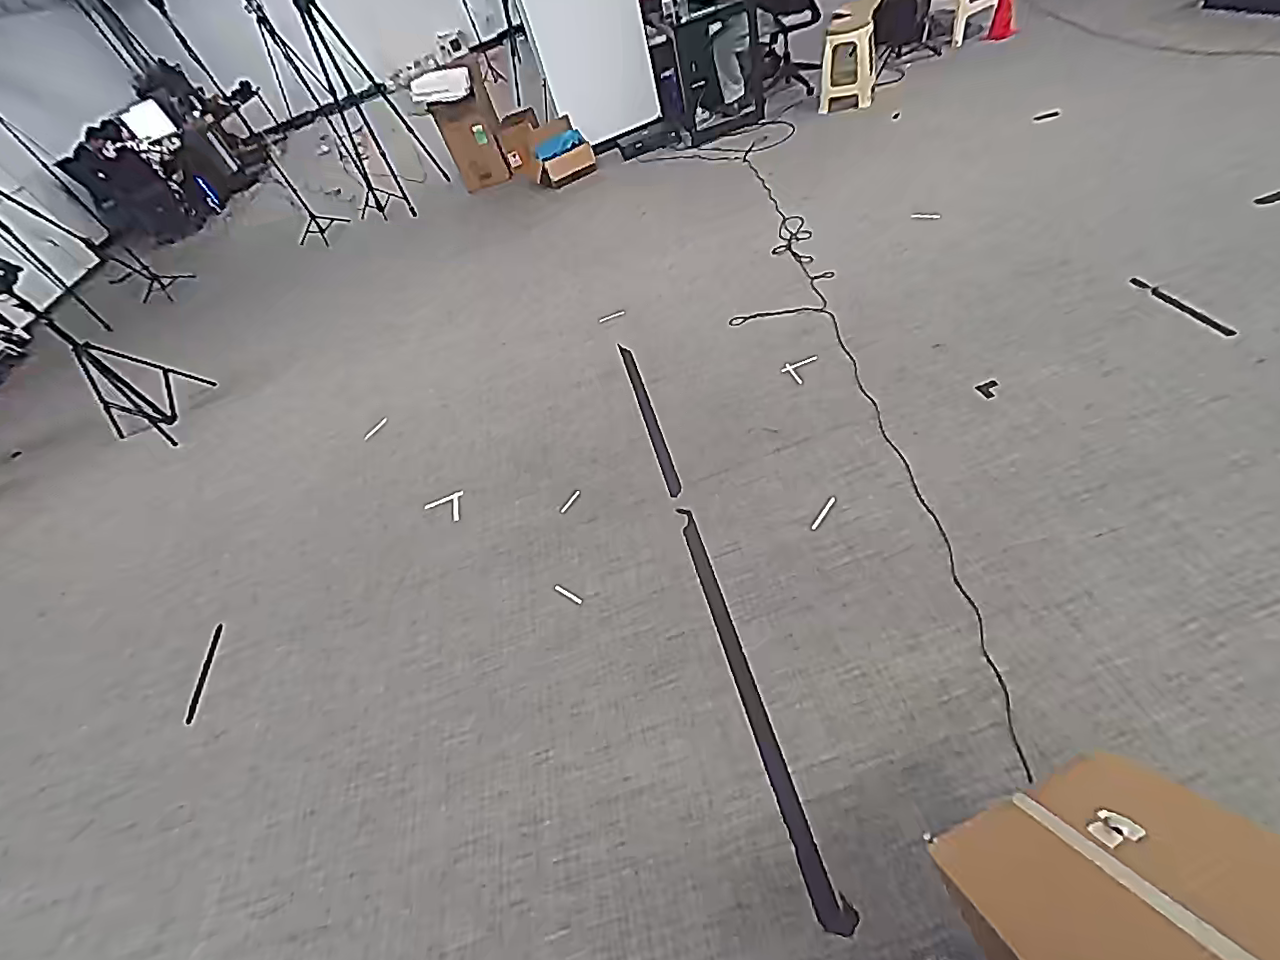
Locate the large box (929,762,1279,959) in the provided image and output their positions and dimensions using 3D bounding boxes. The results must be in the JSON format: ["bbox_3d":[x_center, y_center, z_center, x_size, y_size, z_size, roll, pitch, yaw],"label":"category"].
[{"bbox_3d":[0.634,0.605,0.604,0.320,0.408,0.320,-26,84,-2],"label":"large box"}]
